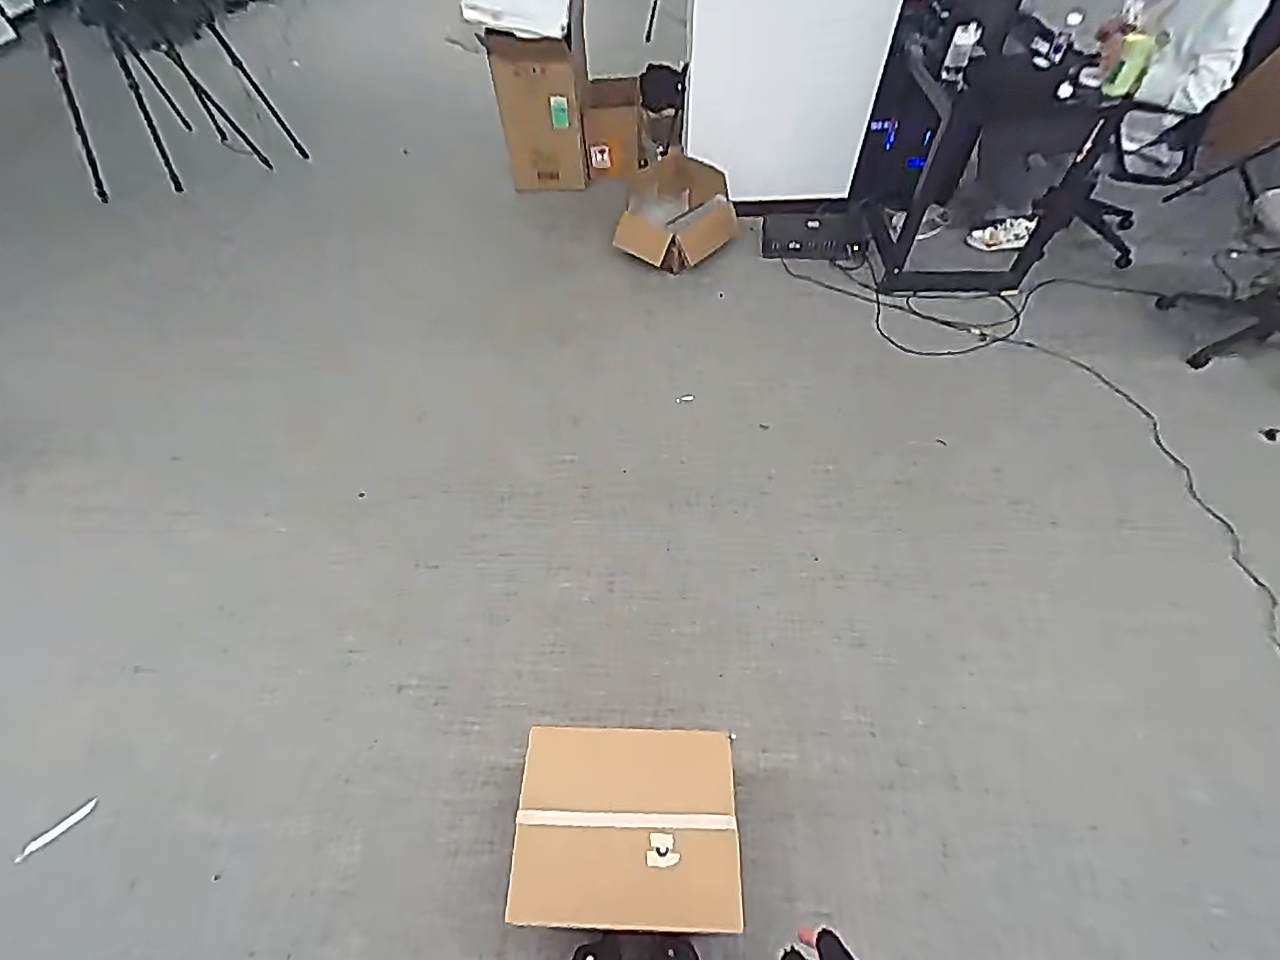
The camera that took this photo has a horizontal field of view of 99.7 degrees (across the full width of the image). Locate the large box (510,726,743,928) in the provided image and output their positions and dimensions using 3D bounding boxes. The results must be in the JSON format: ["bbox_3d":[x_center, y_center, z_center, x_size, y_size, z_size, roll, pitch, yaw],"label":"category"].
[{"bbox_3d":[-0.022,0.712,1.116,0.408,0.320,0.320,1,54,1],"label":"large box"}]
